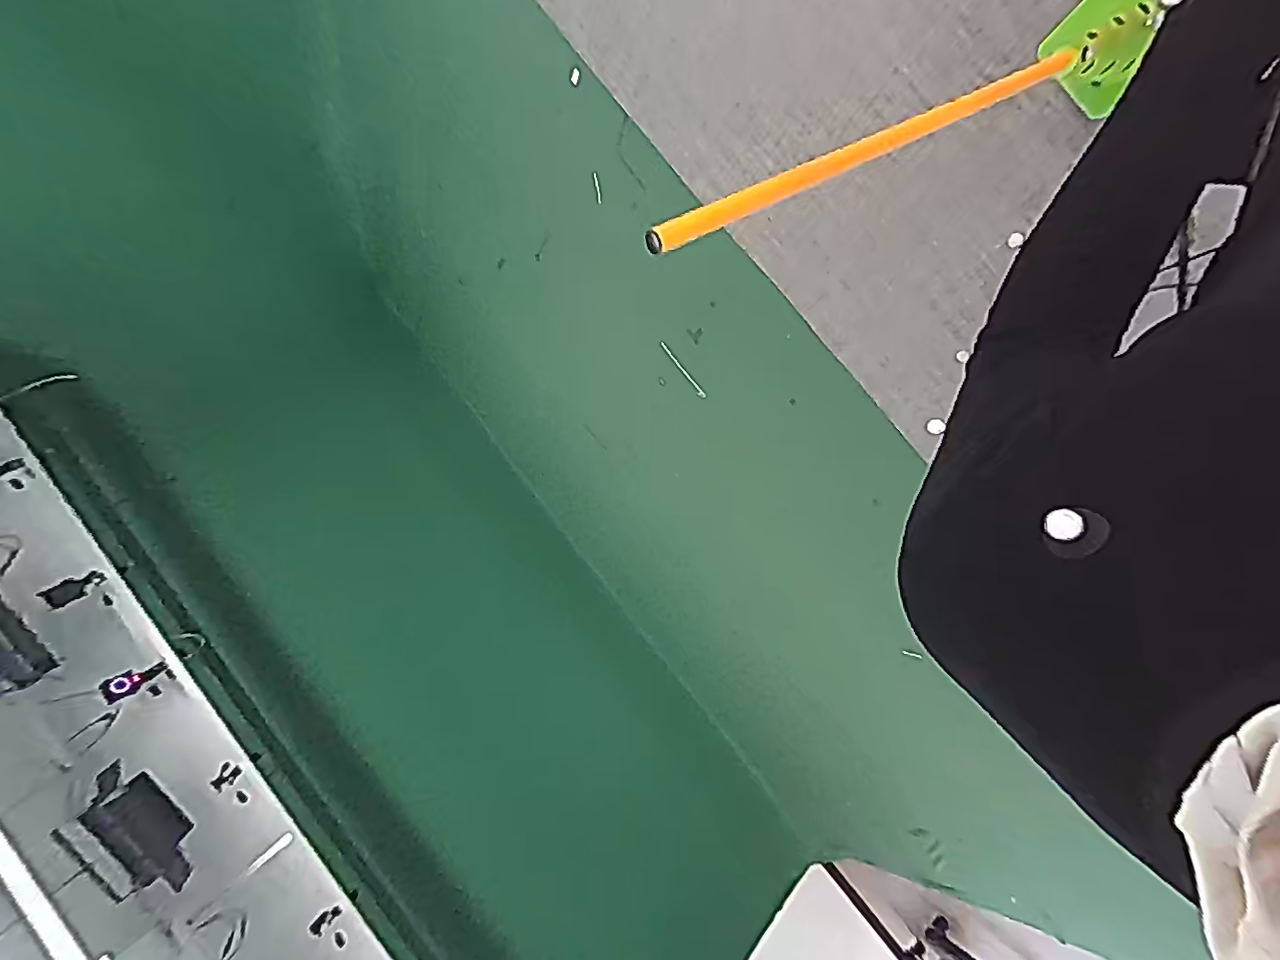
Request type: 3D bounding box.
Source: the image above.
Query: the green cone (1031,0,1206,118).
[{"bbox_3d":[0.773,-0.744,0.937,0.202,0.368,0.200,51,151,2],"label":"green cone"}]
